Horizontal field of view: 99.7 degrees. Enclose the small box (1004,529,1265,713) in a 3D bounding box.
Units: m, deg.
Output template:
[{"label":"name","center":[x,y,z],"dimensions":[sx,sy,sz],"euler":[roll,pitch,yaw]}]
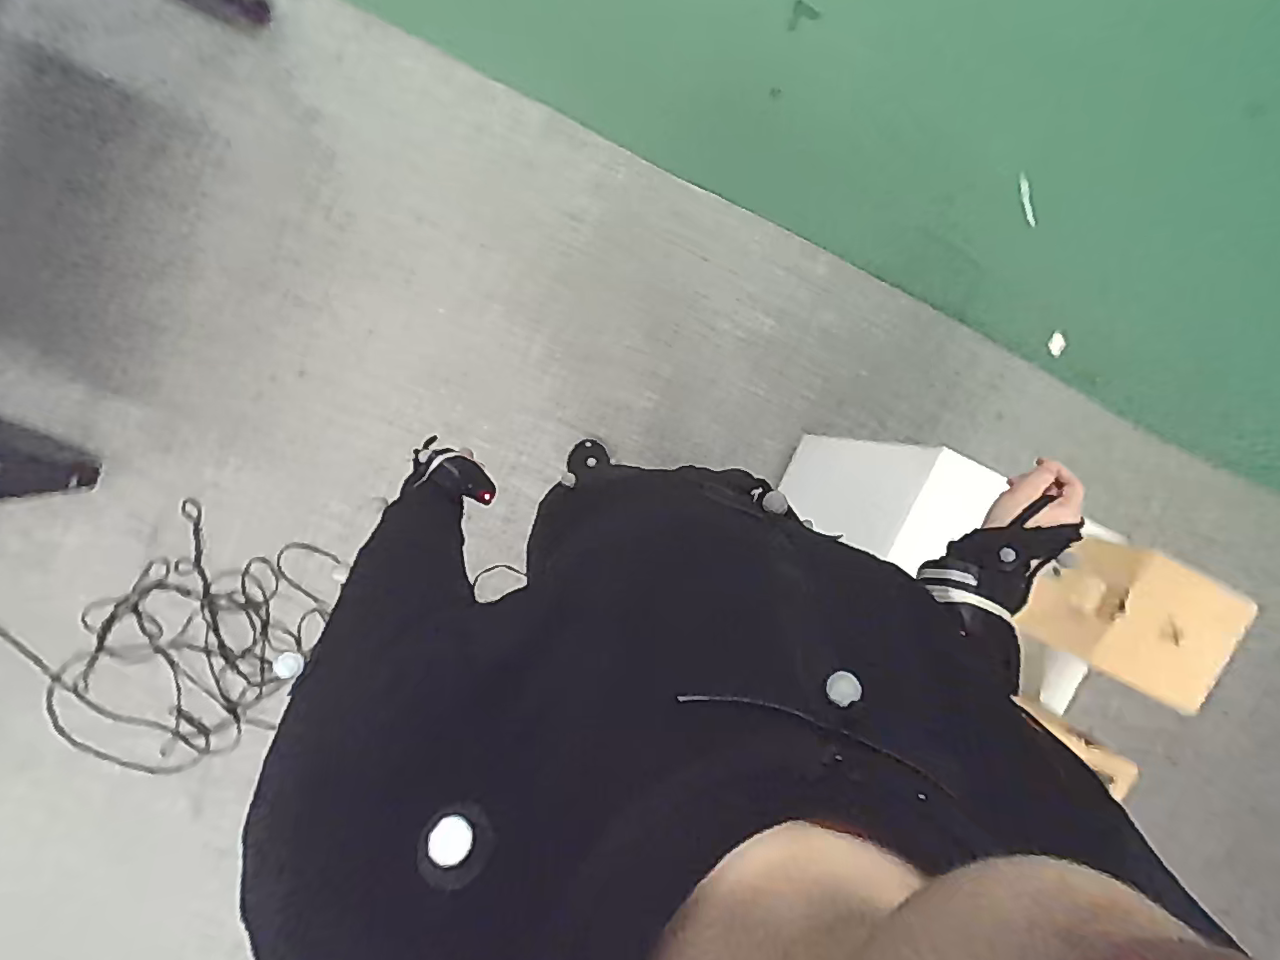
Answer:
[{"label":"small box","center":[0.677,0.185,0.762],"dimensions":[0.179,0.176,0.168],"euler":[25,95,-6]}]
